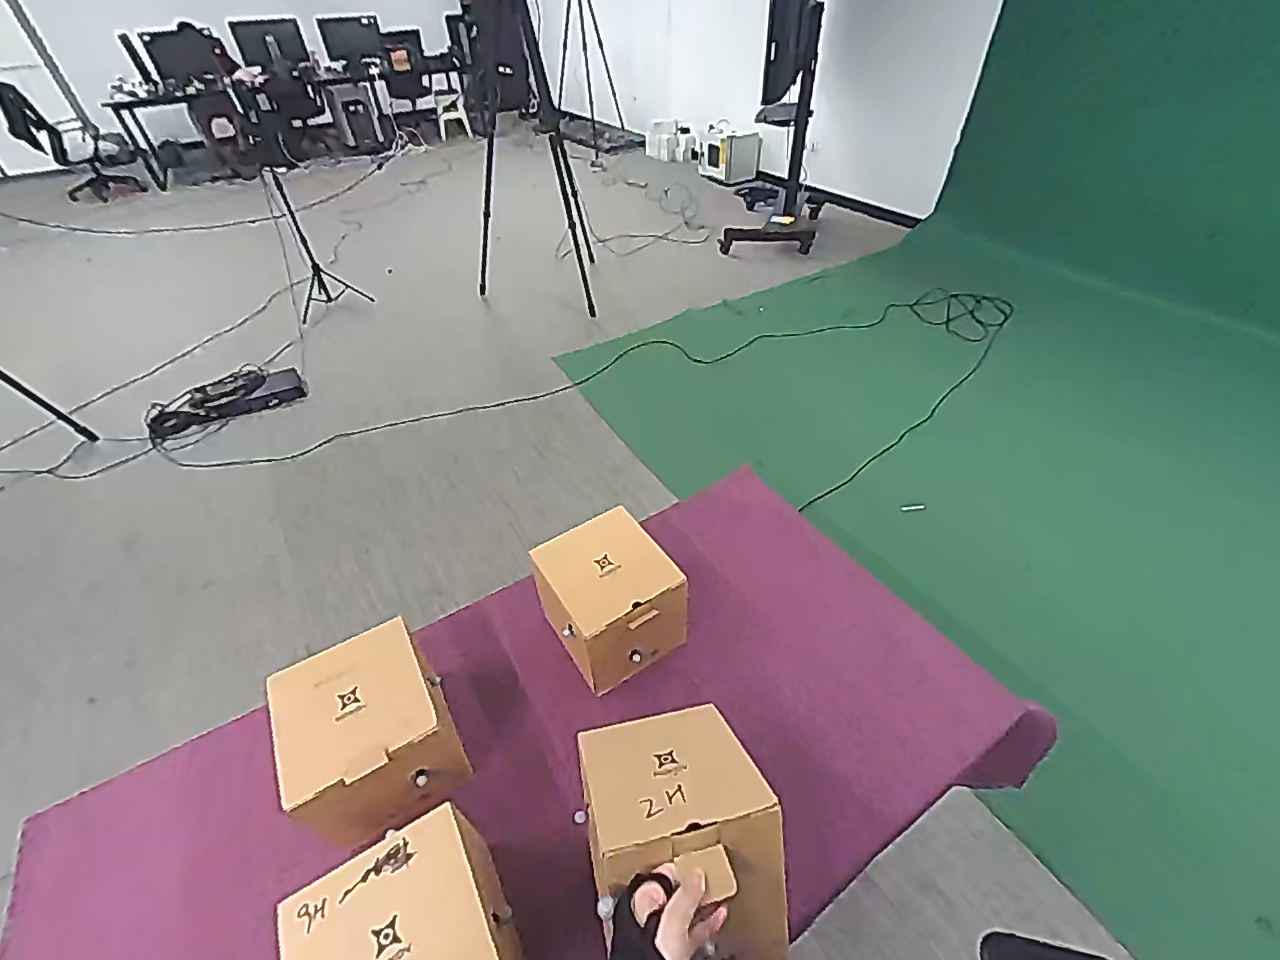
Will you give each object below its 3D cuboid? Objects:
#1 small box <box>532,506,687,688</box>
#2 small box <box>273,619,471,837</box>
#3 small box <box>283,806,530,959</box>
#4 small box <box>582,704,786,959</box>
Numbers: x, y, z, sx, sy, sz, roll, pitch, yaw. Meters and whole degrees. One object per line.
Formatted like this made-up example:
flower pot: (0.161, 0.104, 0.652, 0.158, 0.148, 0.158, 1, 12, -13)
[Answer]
small box: (-0.045, 0.178, 0.827, 0.168, 0.176, 0.179, -27, 49, -22)
small box: (-0.335, 0.322, 0.695, 0.168, 0.176, 0.179, -24, 47, -22)
small box: (-0.214, 0.470, 0.530, 0.168, 0.176, 0.179, -24, 48, -21)
small box: (0.037, 0.369, 0.562, 0.168, 0.176, 0.179, -8, 11, -12)
